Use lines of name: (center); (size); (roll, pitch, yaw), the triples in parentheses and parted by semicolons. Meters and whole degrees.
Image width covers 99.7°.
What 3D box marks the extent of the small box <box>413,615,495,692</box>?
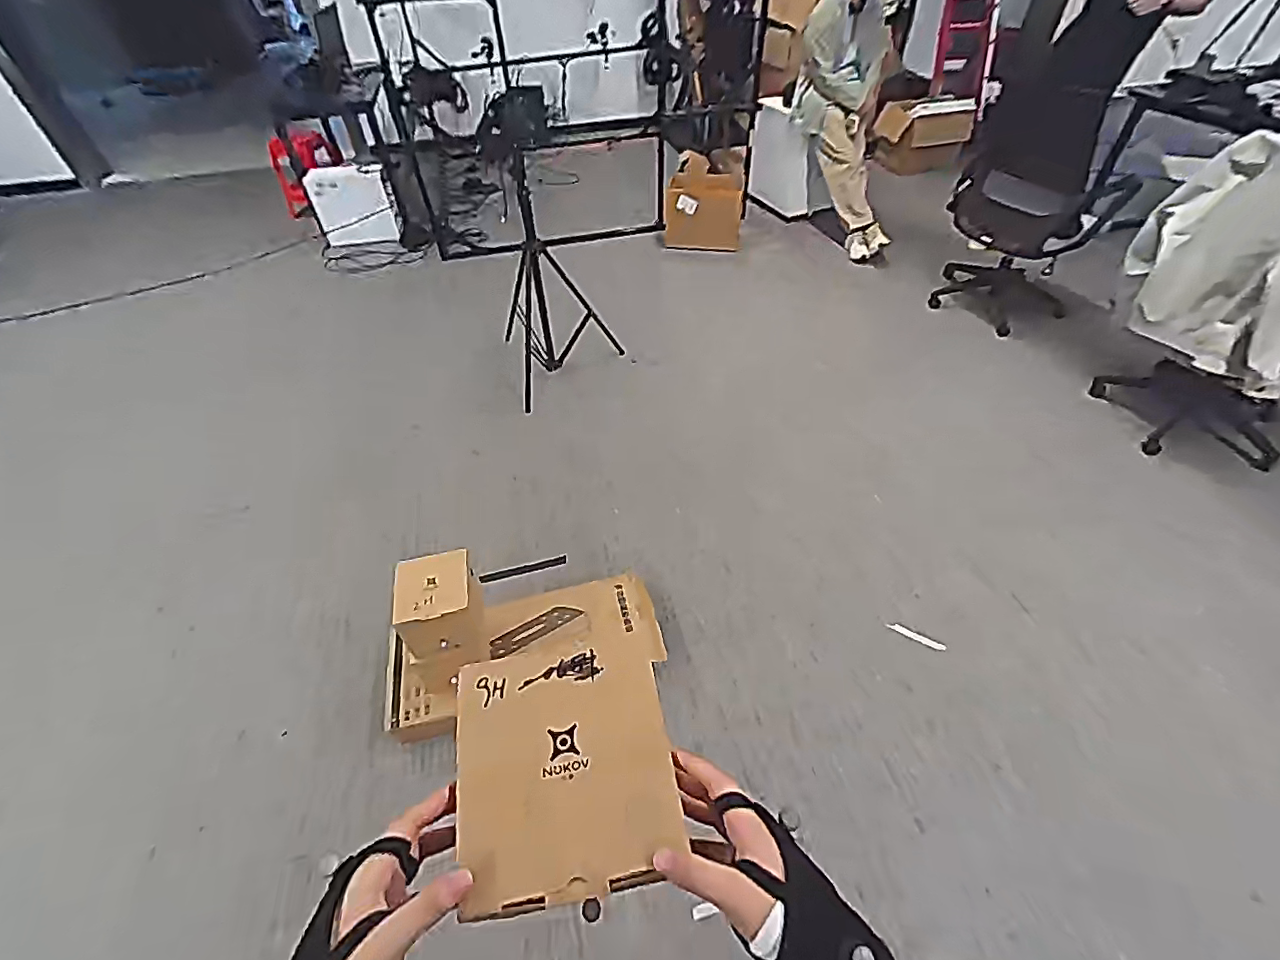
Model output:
small box: (-0.486, 0.426, 1.422); (0.168, 0.176, 0.179); (-12, 48, -10)

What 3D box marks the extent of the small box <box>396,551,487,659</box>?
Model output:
small box: (-0.474, 0.303, 1.310); (0.168, 0.176, 0.179); (-11, 47, -8)
